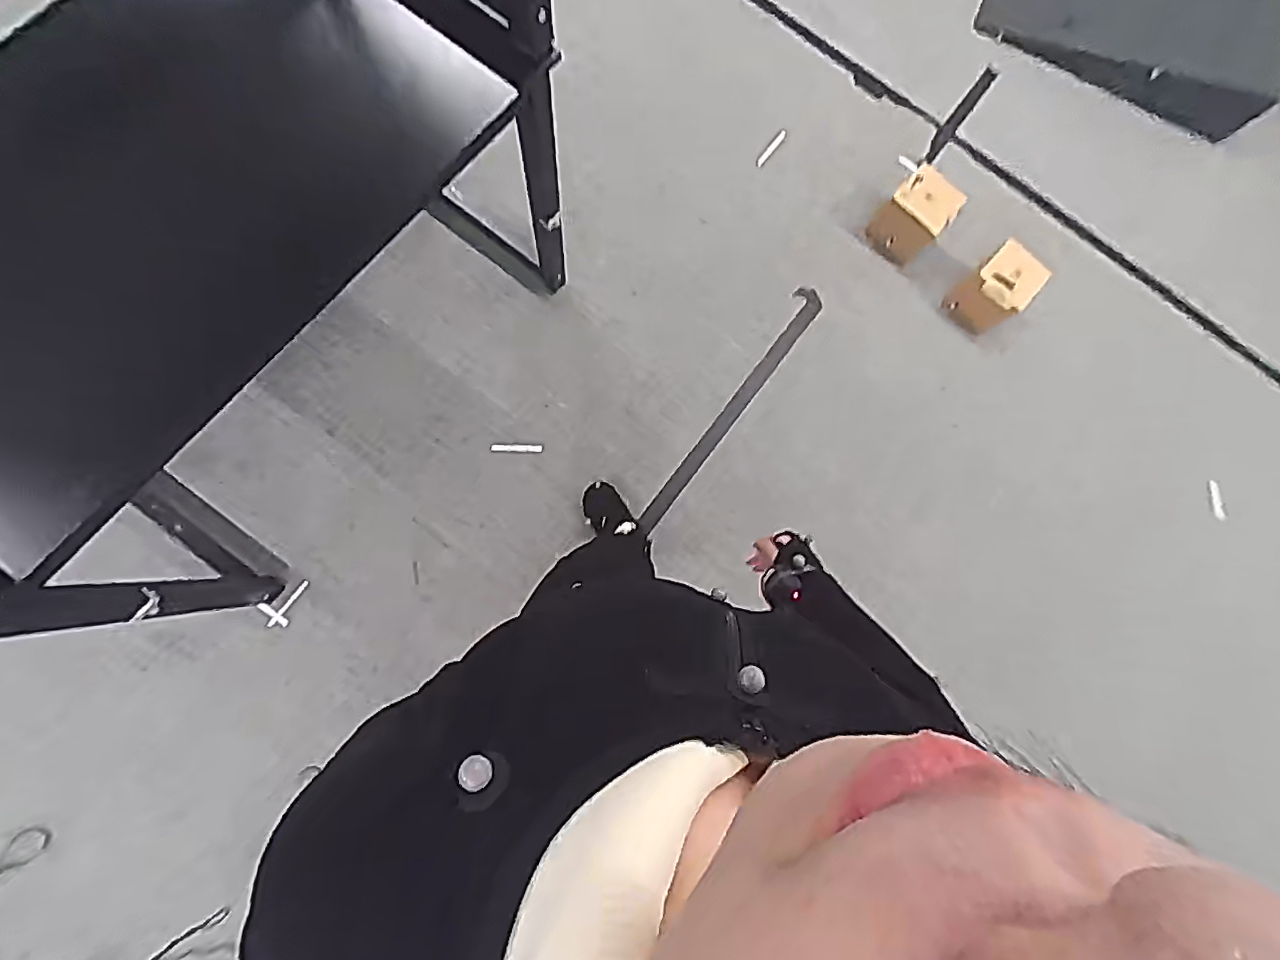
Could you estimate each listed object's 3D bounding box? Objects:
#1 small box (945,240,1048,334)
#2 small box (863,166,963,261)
[{"bbox_3d":[1.080,-0.584,1.659,0.168,0.176,0.179,43,78,1],"label":"small box"},{"bbox_3d":[0.834,-0.807,1.665,0.179,0.176,0.168,43,79,1],"label":"small box"}]
